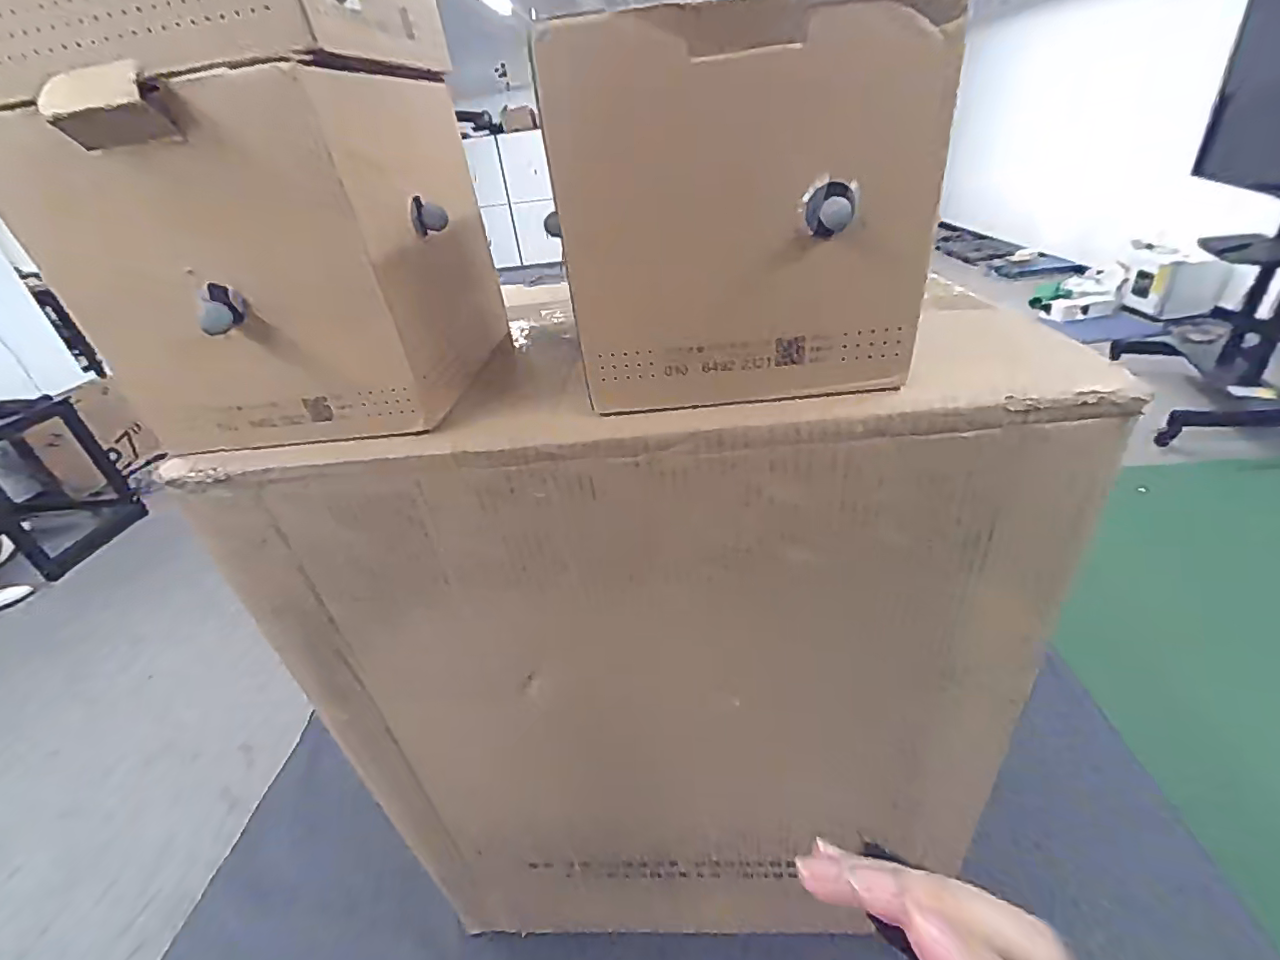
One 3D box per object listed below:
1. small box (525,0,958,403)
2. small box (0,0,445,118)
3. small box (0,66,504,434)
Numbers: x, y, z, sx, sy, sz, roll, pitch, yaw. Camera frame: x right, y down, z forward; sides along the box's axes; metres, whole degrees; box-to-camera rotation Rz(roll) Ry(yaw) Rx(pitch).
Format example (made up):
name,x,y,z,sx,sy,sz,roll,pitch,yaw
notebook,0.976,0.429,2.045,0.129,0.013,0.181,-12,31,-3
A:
name,x,y,z,sx,sy,sz,roll,pitch,yaw
small box,0.048,-0.150,0.311,0.168,0.176,0.179,-2,32,5
small box,-0.217,-0.277,0.250,0.179,0.176,0.168,-4,33,7
small box,-0.198,-0.137,0.336,0.168,0.176,0.179,-3,34,6
